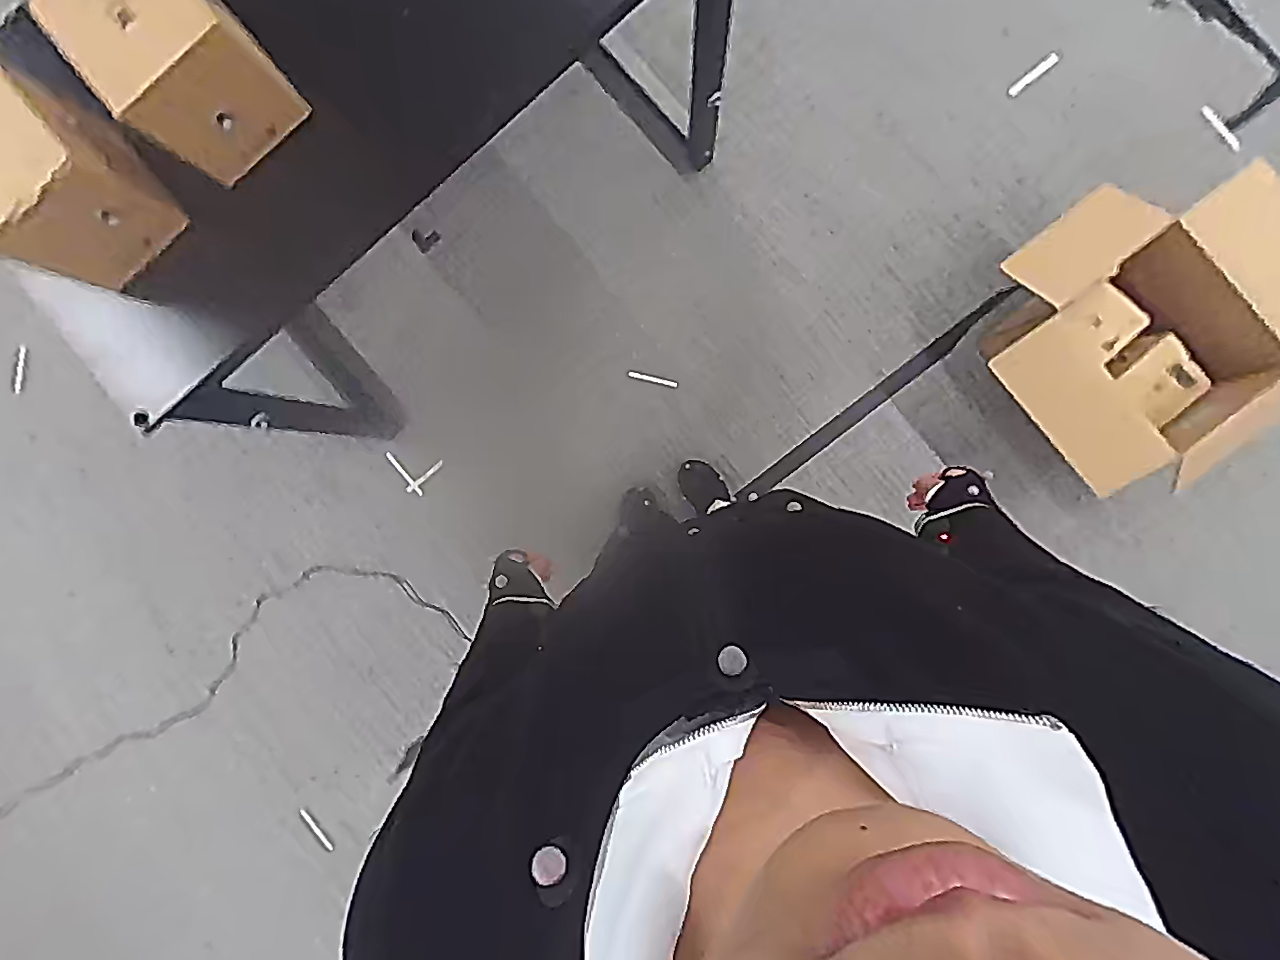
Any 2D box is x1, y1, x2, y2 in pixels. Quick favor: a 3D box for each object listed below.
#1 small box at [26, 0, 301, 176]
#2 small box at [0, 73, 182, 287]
[{"bbox_3d":[-0.601,-0.538,0.709,0.168,0.176,0.179,-40,89,3],"label":"small box"},{"bbox_3d":[-0.786,-0.386,0.724,0.168,0.176,0.179,-41,88,2],"label":"small box"}]
